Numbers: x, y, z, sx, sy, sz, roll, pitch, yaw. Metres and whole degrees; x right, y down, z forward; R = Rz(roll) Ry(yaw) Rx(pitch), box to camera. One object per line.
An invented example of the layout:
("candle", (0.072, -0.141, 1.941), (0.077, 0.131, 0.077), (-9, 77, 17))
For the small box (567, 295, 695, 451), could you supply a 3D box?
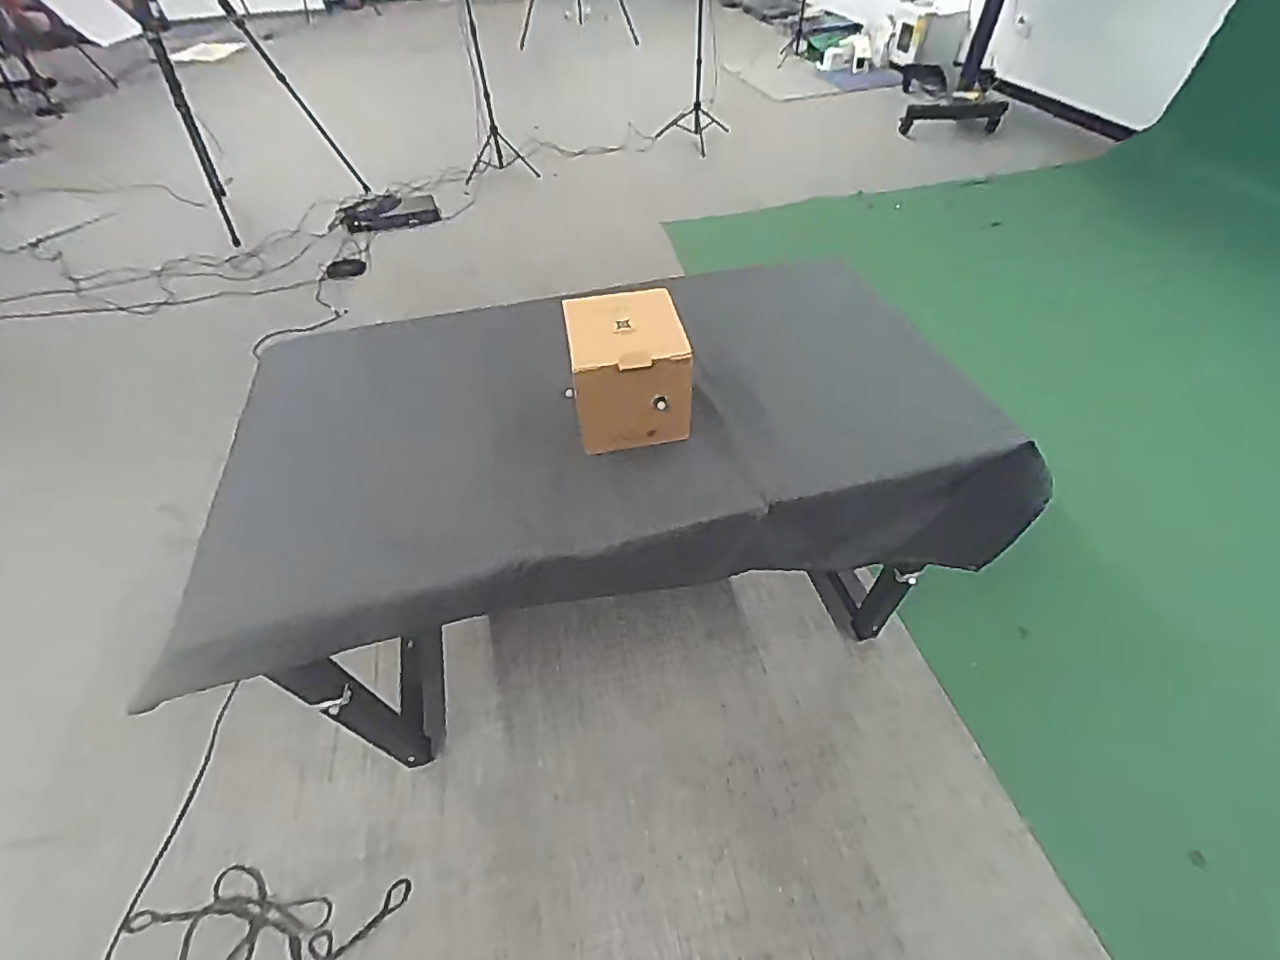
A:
("small box", (-0.015, -0.159, 0.840), (0.168, 0.176, 0.179), (-9, 48, -6))
